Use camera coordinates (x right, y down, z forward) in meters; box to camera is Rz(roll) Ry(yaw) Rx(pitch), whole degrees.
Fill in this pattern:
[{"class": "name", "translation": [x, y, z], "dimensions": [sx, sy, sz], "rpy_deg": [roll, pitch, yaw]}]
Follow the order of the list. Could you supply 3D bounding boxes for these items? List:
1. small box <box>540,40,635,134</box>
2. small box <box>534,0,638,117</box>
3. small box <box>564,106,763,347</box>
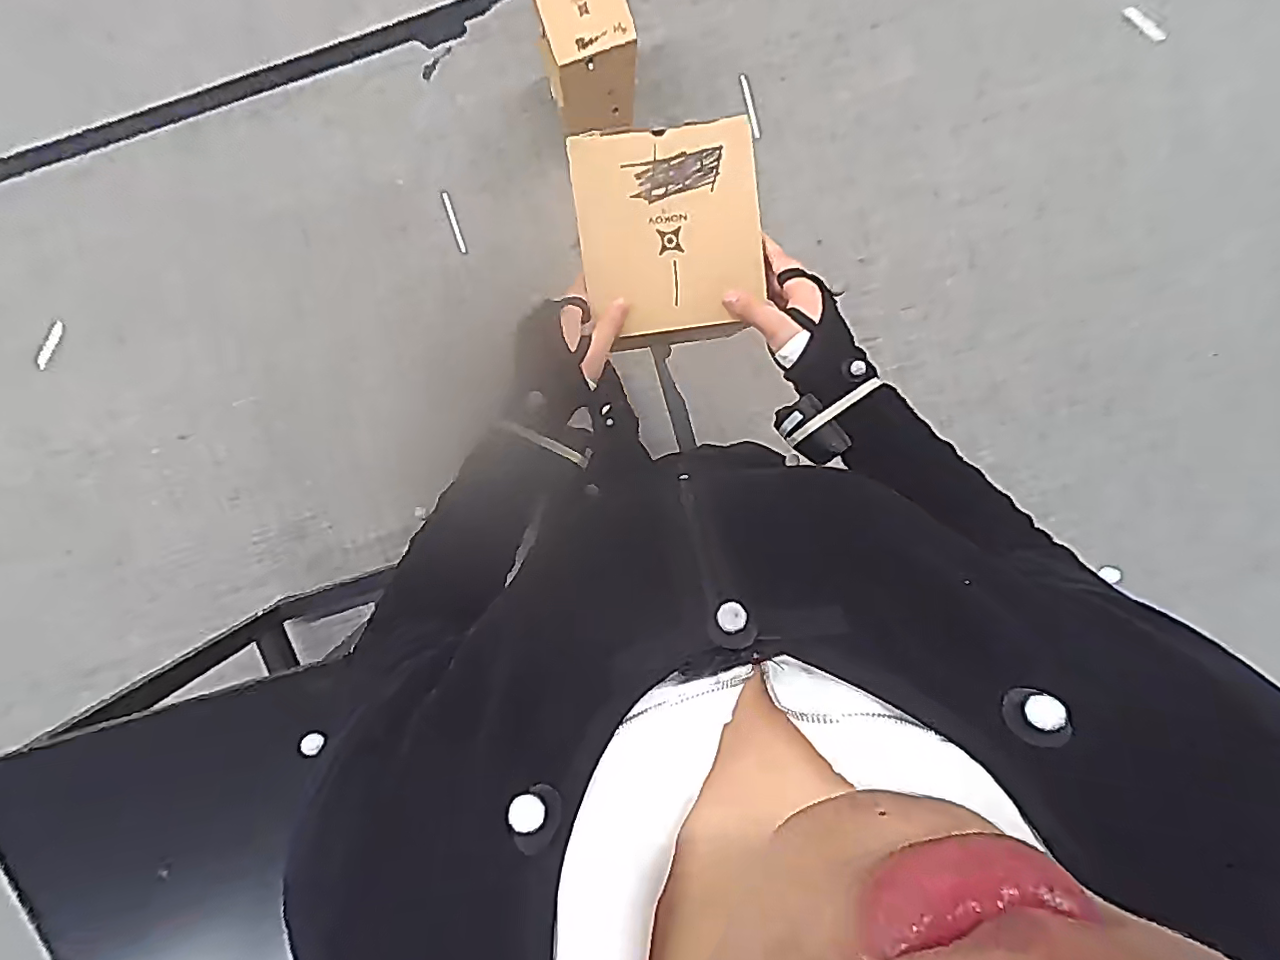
[{"class": "small box", "translation": [-0.119, -0.923, 1.273], "dimensions": [0.179, 0.176, 0.168], "rpy_deg": [-18, 97, 2]}, {"class": "small box", "translation": [-0.111, -0.900, 1.110], "dimensions": [0.168, 0.176, 0.179], "rpy_deg": [-19, 97, 1]}, {"class": "small box", "translation": [0.019, -0.243, 0.560], "dimensions": [0.168, 0.176, 0.179], "rpy_deg": [-8, 99, -1]}]
